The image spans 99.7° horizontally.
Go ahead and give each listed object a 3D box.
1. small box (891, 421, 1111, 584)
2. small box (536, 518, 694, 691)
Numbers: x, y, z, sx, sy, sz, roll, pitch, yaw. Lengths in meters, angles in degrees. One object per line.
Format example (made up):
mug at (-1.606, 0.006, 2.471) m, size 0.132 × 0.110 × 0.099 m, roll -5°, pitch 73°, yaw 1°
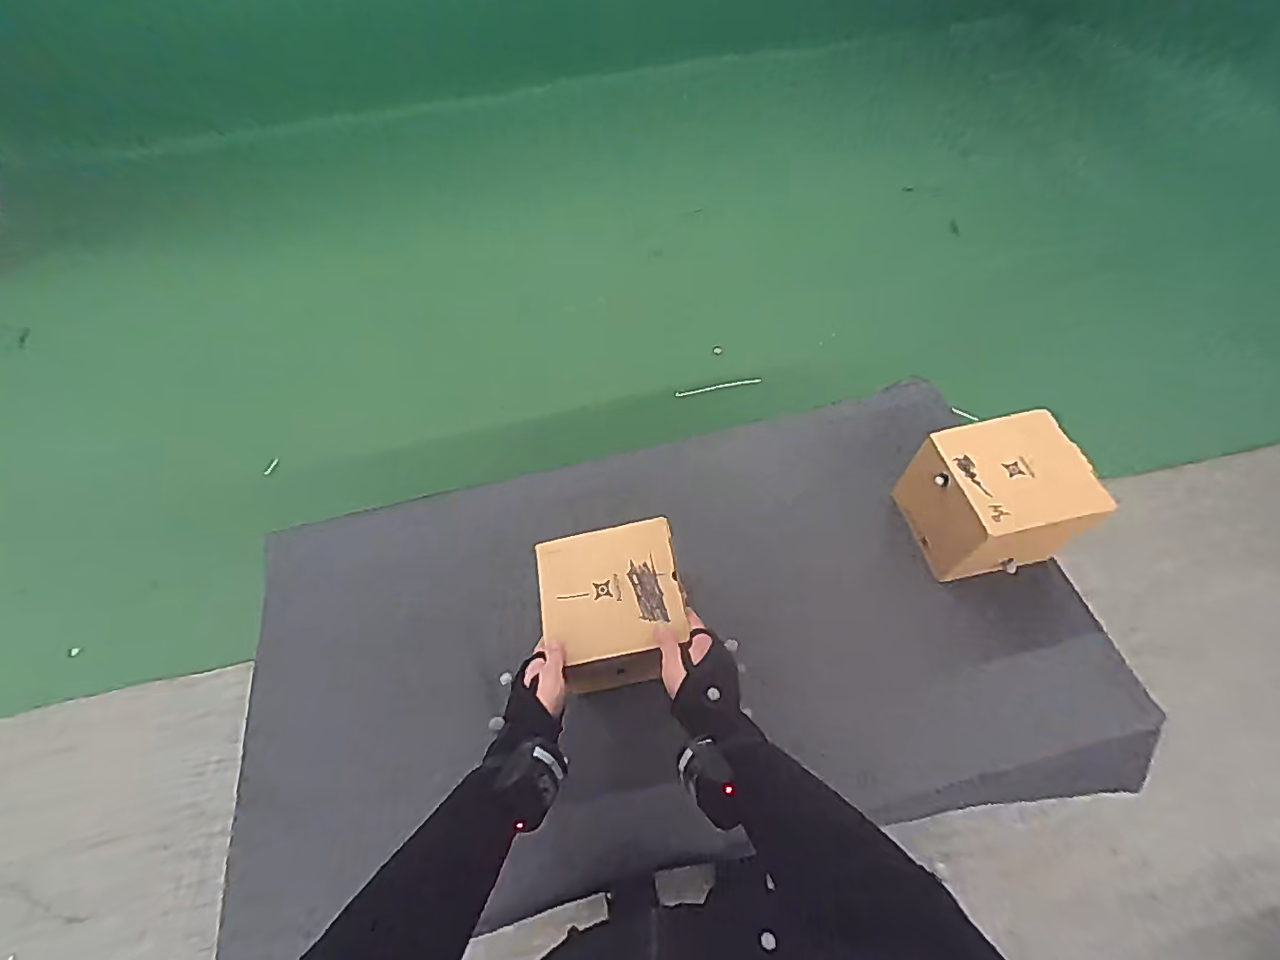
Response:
small box at (0.508, 0.038, 0.793) m, size 0.179 × 0.176 × 0.168 m, roll -10°, pitch 59°, yaw -4°
small box at (-0.029, 0.171, 0.719) m, size 0.179 × 0.176 × 0.168 m, roll -11°, pitch 59°, yaw 0°
